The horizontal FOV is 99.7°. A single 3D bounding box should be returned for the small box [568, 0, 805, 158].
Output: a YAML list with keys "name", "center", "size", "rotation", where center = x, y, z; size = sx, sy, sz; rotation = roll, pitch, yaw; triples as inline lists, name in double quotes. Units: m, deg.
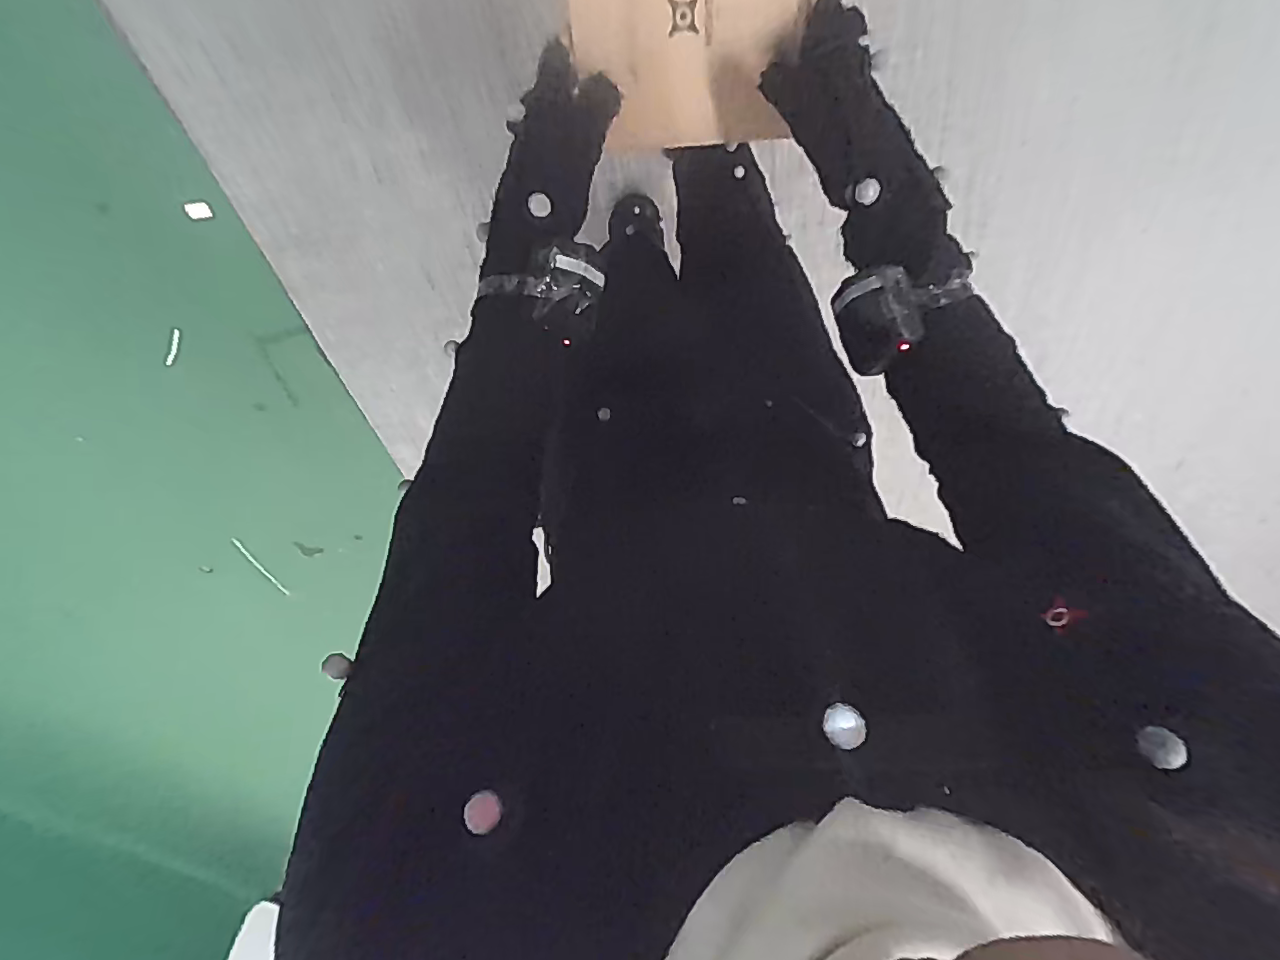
- name: "small box"
  center: [0.036, -0.390, 0.465]
  size: [0.179, 0.176, 0.168]
  rotation: [-3, 128, 5]
